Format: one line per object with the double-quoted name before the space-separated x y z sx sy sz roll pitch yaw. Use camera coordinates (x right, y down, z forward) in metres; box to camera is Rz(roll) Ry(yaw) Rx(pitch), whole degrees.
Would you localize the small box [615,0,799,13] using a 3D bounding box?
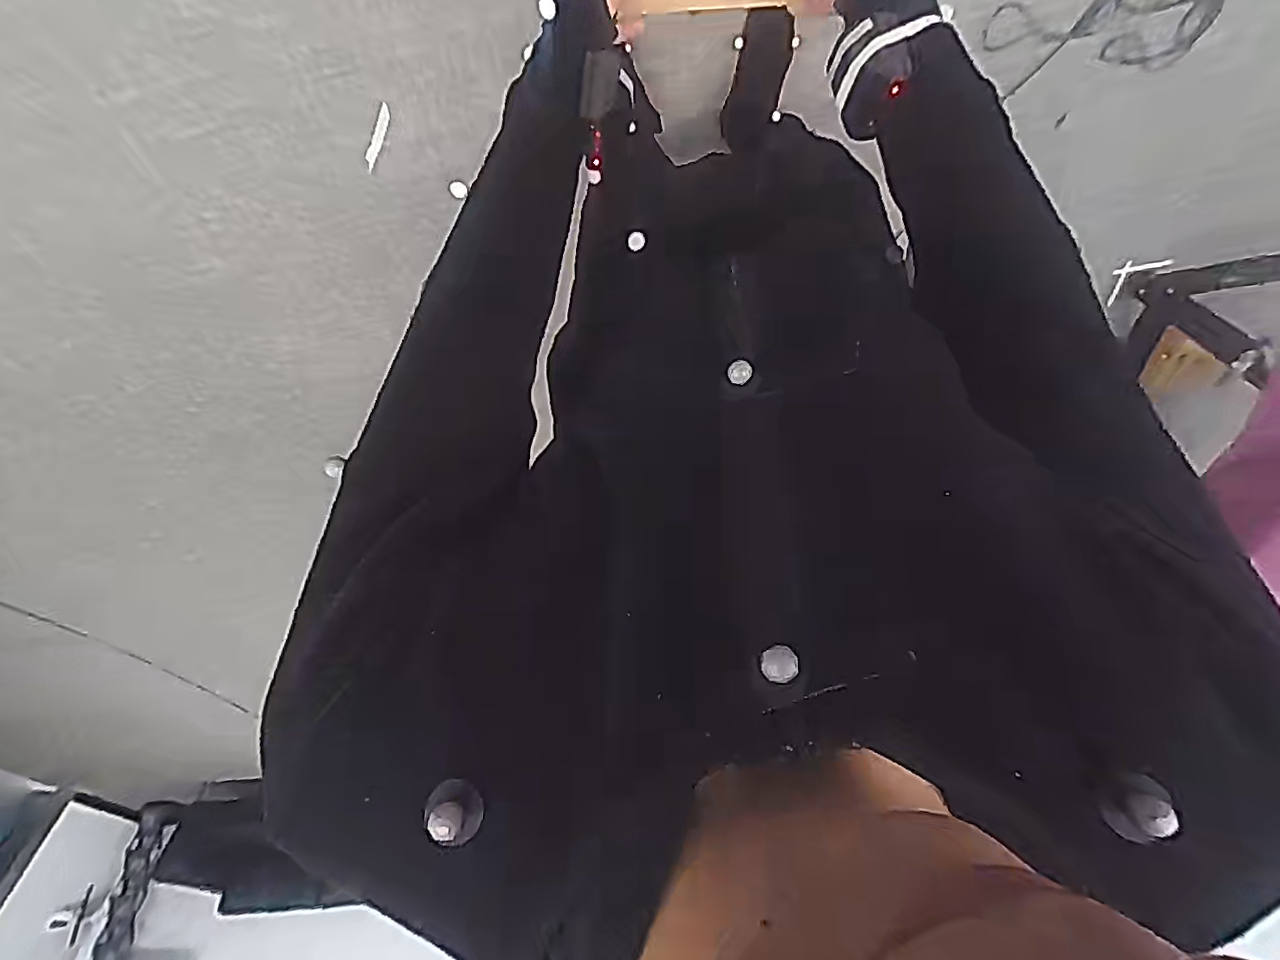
"small box" 0.058 -0.552 0.490 0.179 0.176 0.168 -2 140 1
